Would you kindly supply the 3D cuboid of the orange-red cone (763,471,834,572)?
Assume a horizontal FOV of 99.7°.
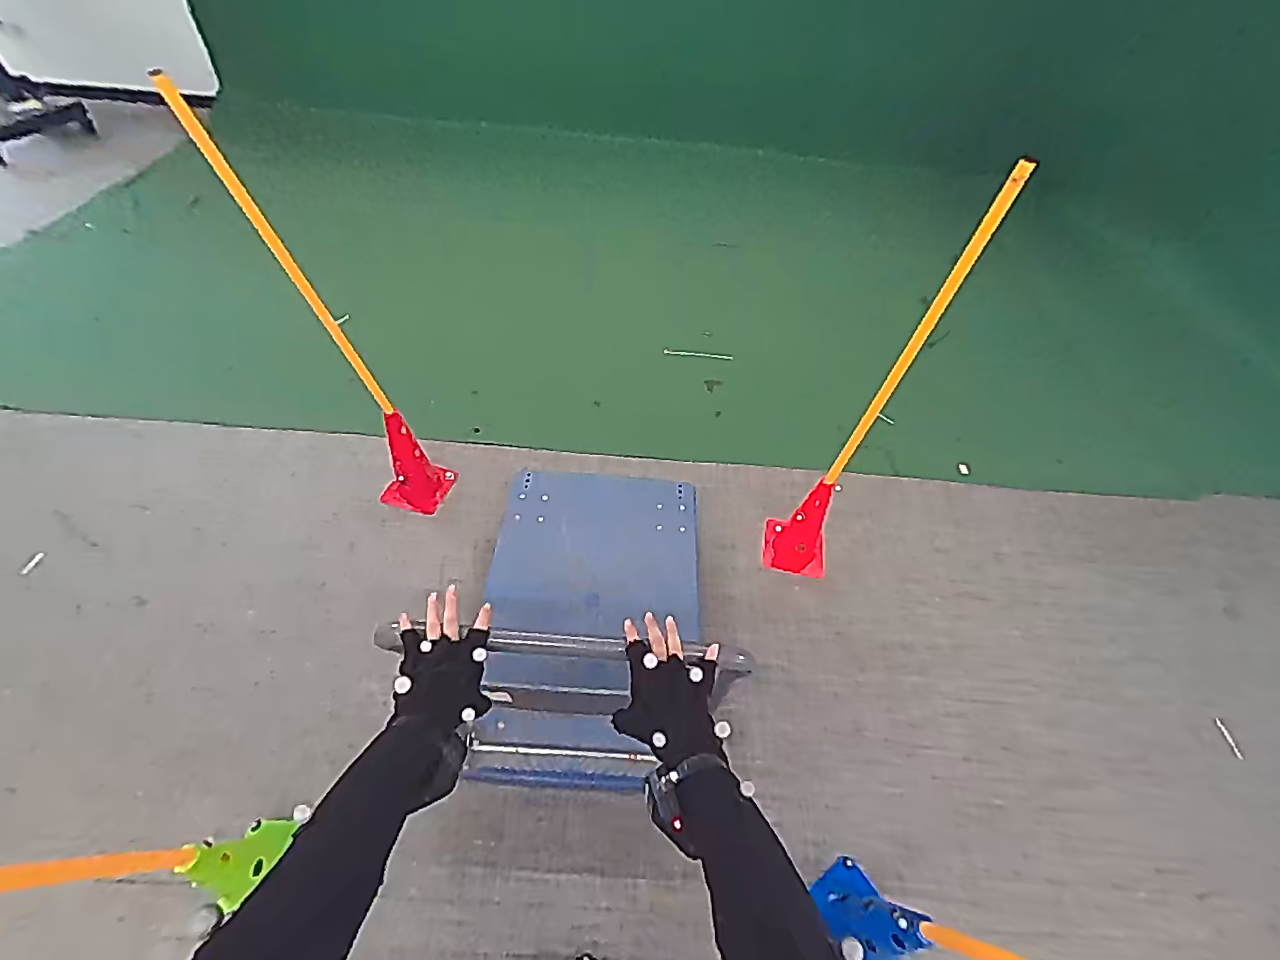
[{"bbox_3d":[0.526,0.102,1.674,0.198,0.360,0.199,13,51,6],"label":"orange-red cone"}]
